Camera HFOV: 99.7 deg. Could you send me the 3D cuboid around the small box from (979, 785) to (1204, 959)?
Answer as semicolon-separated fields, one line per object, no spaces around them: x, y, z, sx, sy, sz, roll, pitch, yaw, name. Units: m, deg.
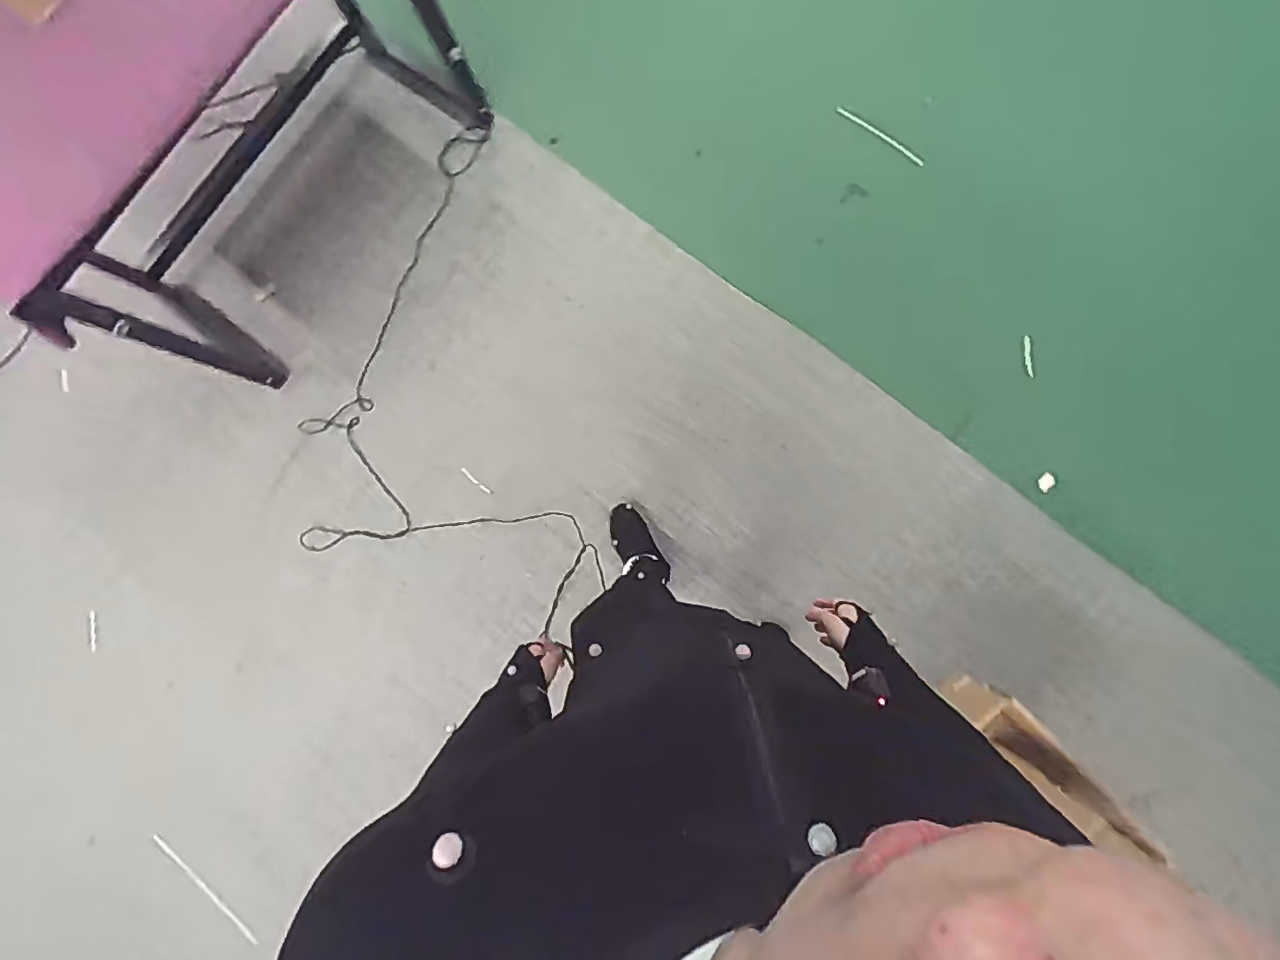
0.702;0.639;0.865;0.179;0.176;0.168;44;89;7;small box
